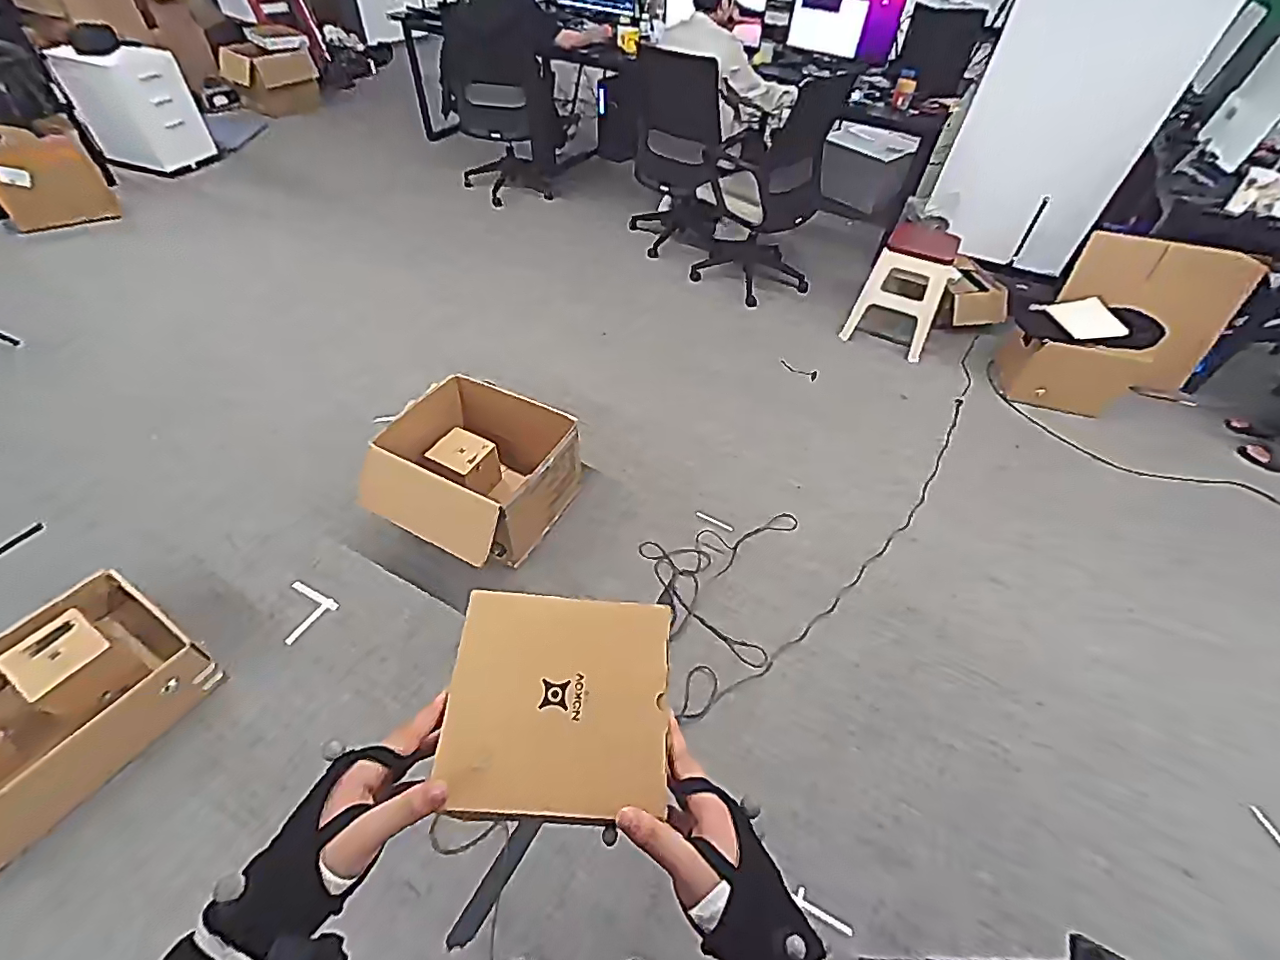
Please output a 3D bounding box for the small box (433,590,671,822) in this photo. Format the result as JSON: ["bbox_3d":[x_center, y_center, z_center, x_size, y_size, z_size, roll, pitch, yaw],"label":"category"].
[{"bbox_3d":[-0.070,0.217,0.505,0.179,0.176,0.168,5,56,-4],"label":"small box"}]

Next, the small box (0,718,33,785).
[{"bbox_3d":[-1.526,0.618,1.184,0.168,0.176,0.179,29,51,18],"label":"small box"}]
